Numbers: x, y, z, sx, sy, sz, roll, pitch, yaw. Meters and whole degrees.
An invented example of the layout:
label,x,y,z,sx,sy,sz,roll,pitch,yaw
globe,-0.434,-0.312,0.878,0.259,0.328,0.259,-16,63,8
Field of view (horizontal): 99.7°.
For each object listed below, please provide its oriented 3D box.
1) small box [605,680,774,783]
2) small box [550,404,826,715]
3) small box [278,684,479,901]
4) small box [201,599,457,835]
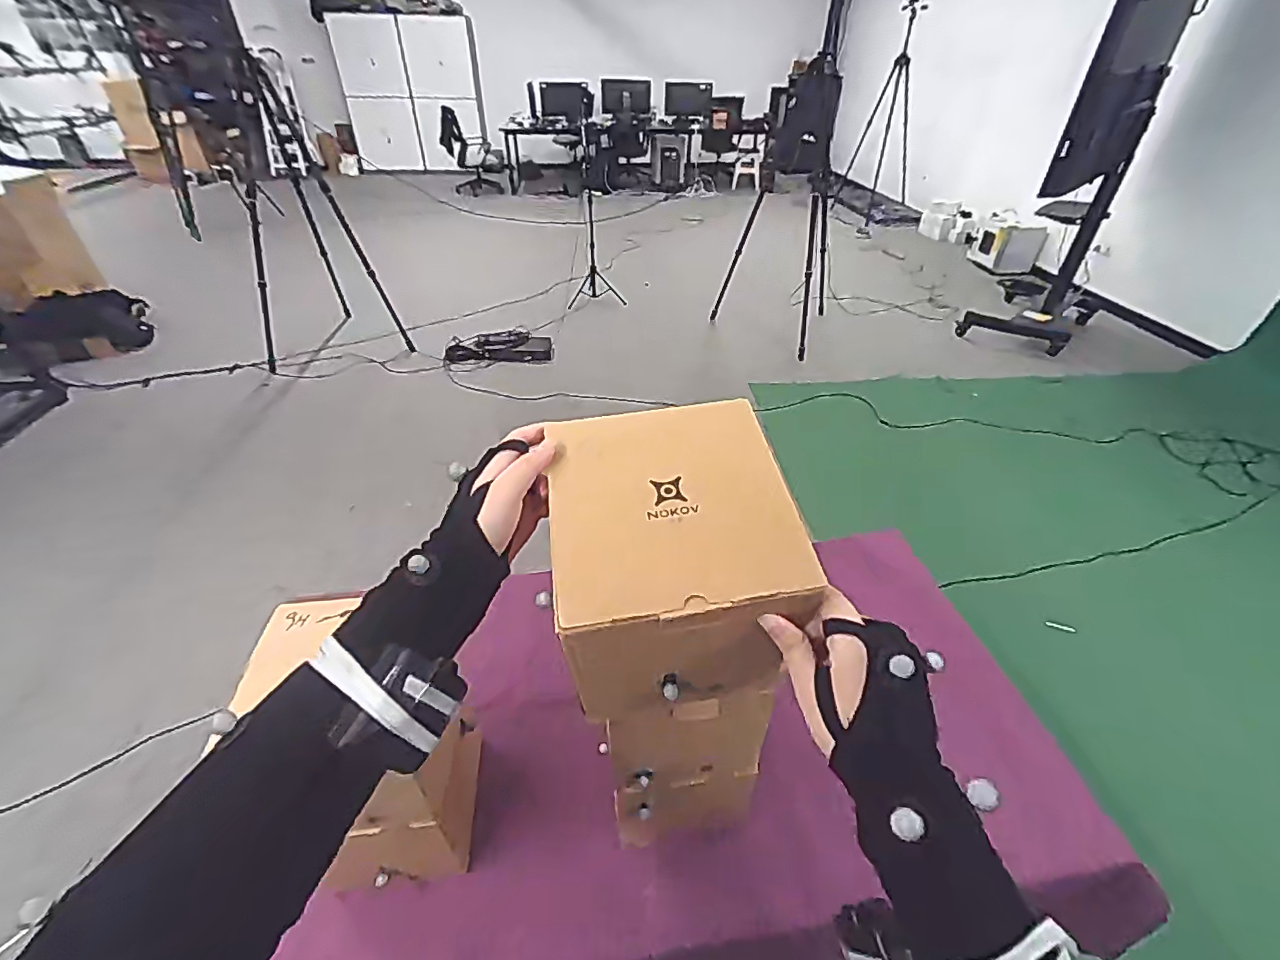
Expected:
label,x,y,z,sx,sy,sz,roll,pitch,yaw
small box,0.039,0.223,0.623,0.168,0.176,0.179,-5,37,-7
small box,0.021,0.064,0.438,0.168,0.176,0.179,-8,50,-6
small box,-0.304,0.387,0.677,0.168,0.176,0.179,-5,38,-6
small box,-0.304,0.254,0.580,0.168,0.176,0.179,-4,38,-6
